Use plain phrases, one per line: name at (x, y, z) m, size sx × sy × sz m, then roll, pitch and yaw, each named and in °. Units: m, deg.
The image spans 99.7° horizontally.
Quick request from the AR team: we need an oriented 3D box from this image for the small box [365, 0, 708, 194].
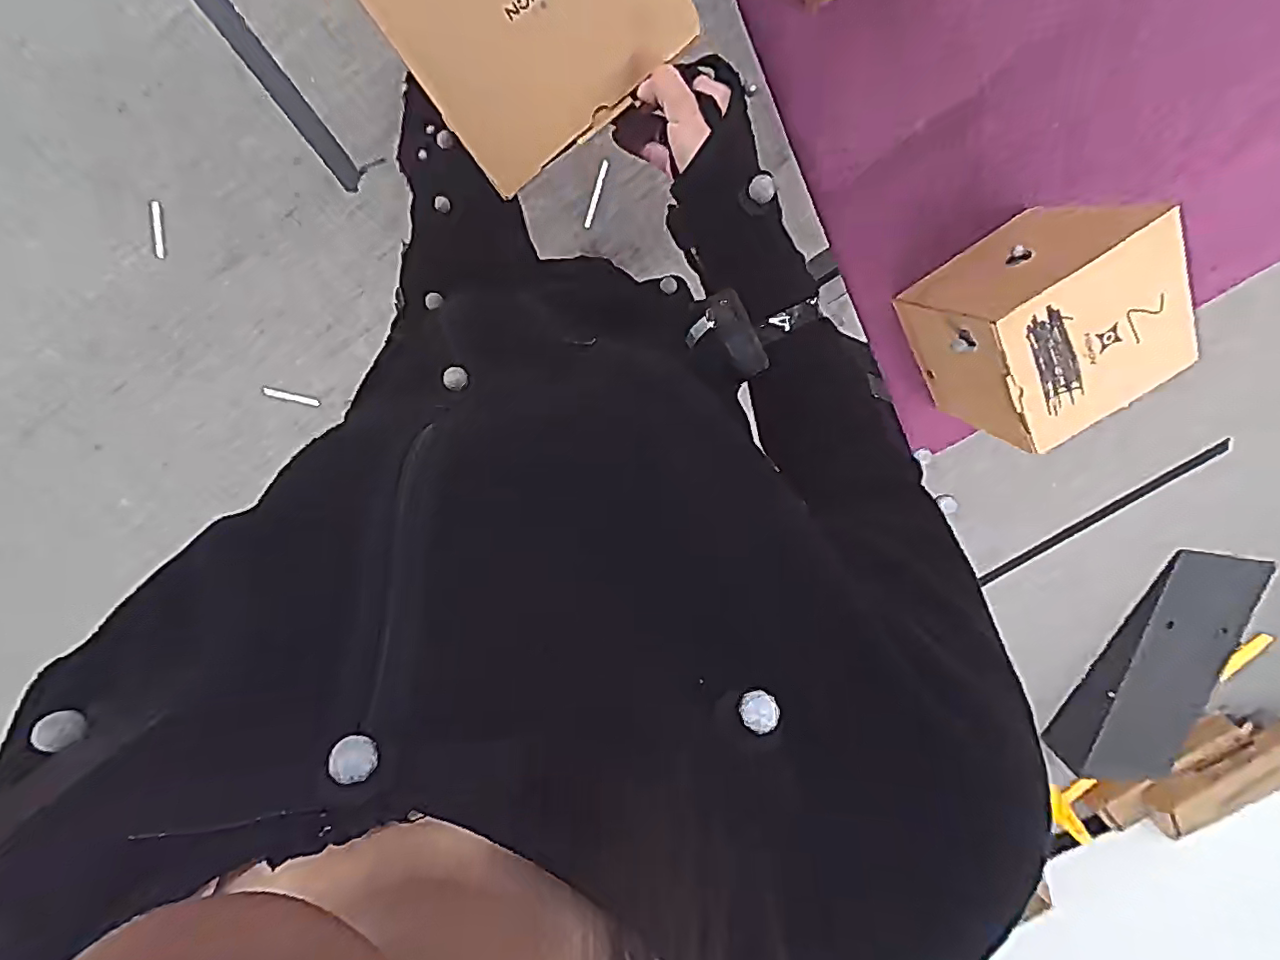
small box at (-0.088, -0.329, 0.355) m, size 0.168 × 0.176 × 0.179 m, roll -37°, pitch 128°, yaw 7°
